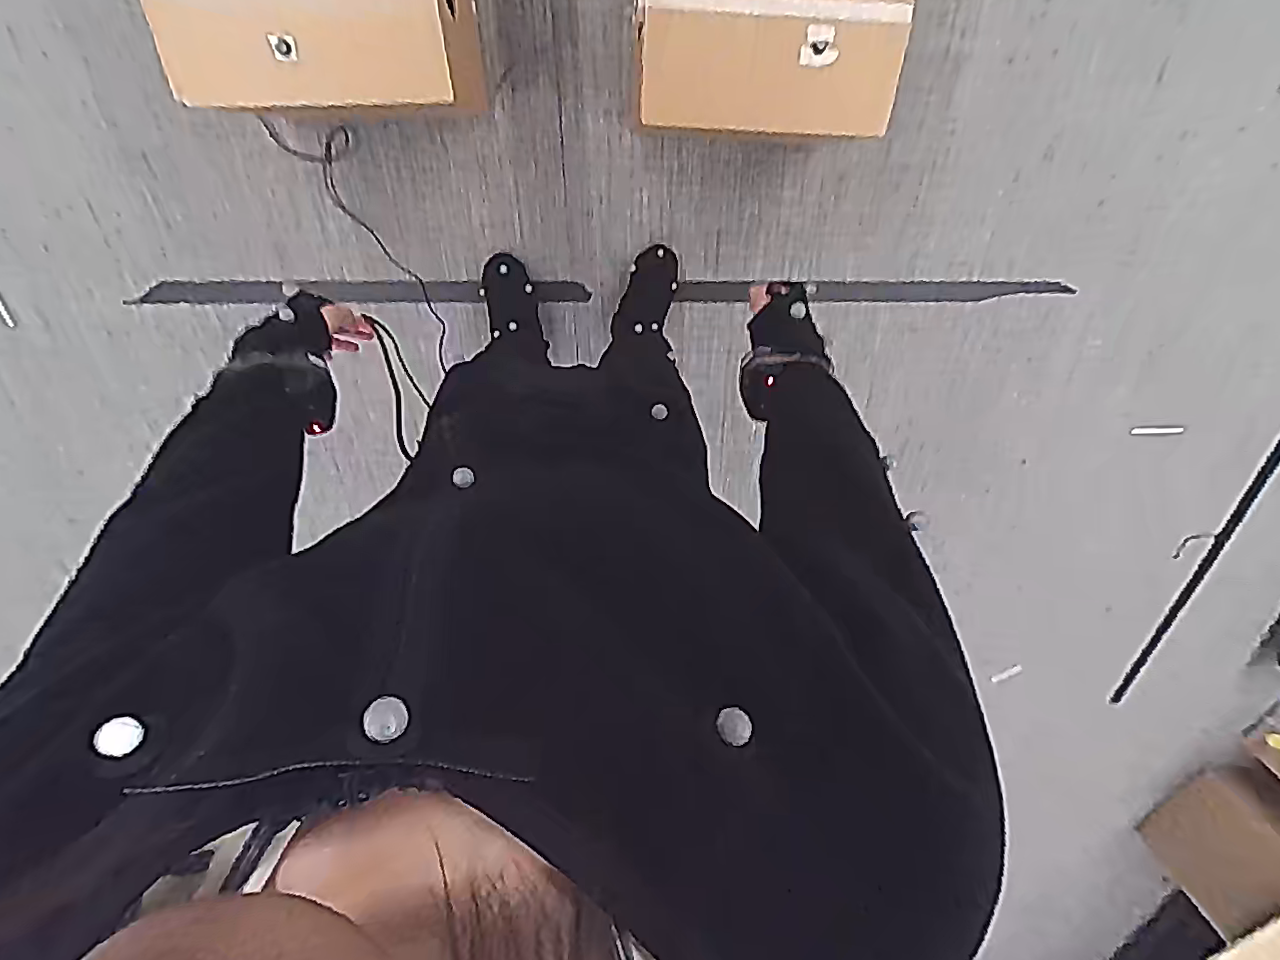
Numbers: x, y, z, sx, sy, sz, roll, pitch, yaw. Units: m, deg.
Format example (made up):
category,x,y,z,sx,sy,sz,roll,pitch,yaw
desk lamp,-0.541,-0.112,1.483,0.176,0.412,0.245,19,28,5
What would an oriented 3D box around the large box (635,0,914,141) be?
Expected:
category,x,y,z,sx,sy,sz,roll,pitch,yaw
large box,0.200,-0.778,0.929,0.408,0.320,0.320,0,120,-5
